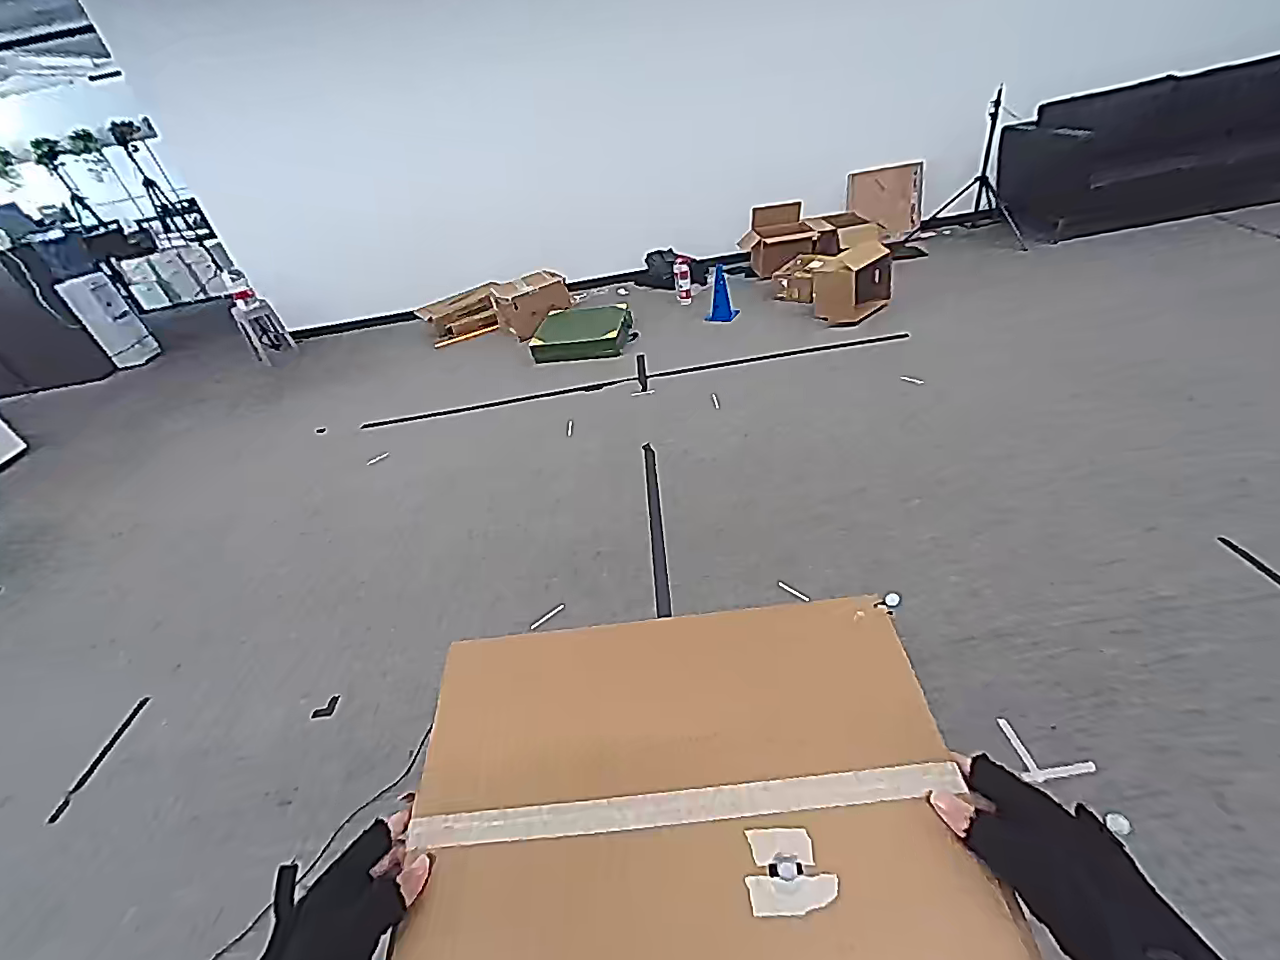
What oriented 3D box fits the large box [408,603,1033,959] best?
[{"bbox_3d":[0.051,0.353,0.510,0.408,0.320,0.320,-7,45,2],"label":"large box"}]
